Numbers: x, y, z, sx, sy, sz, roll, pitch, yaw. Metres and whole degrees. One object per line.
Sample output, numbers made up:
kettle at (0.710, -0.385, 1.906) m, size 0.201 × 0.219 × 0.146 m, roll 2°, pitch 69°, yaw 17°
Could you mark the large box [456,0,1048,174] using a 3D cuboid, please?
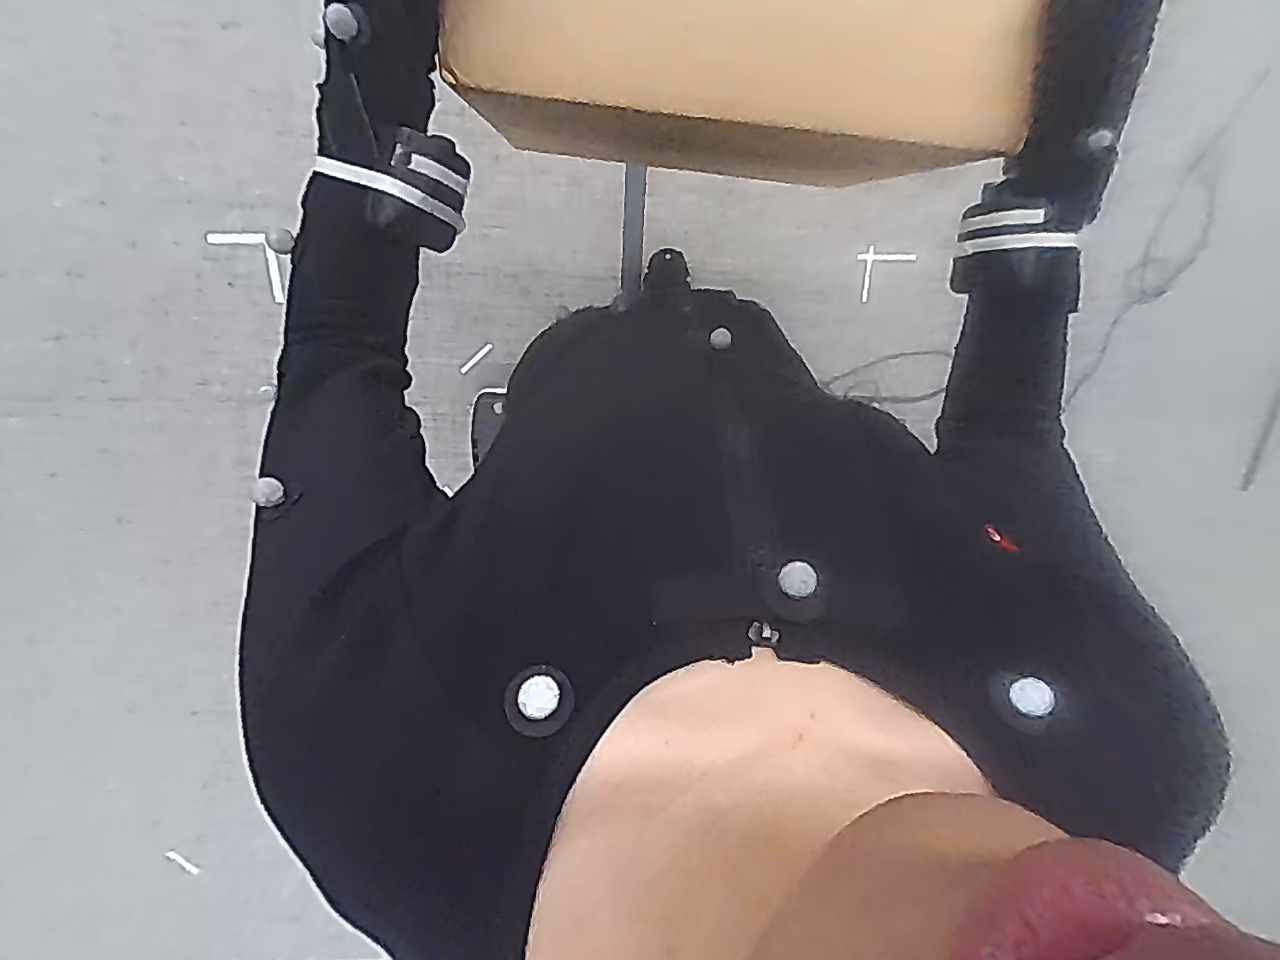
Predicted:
large box at (0.073, -0.461, 0.454) m, size 0.408 × 0.320 × 0.320 m, roll 2°, pitch 115°, yaw -6°
